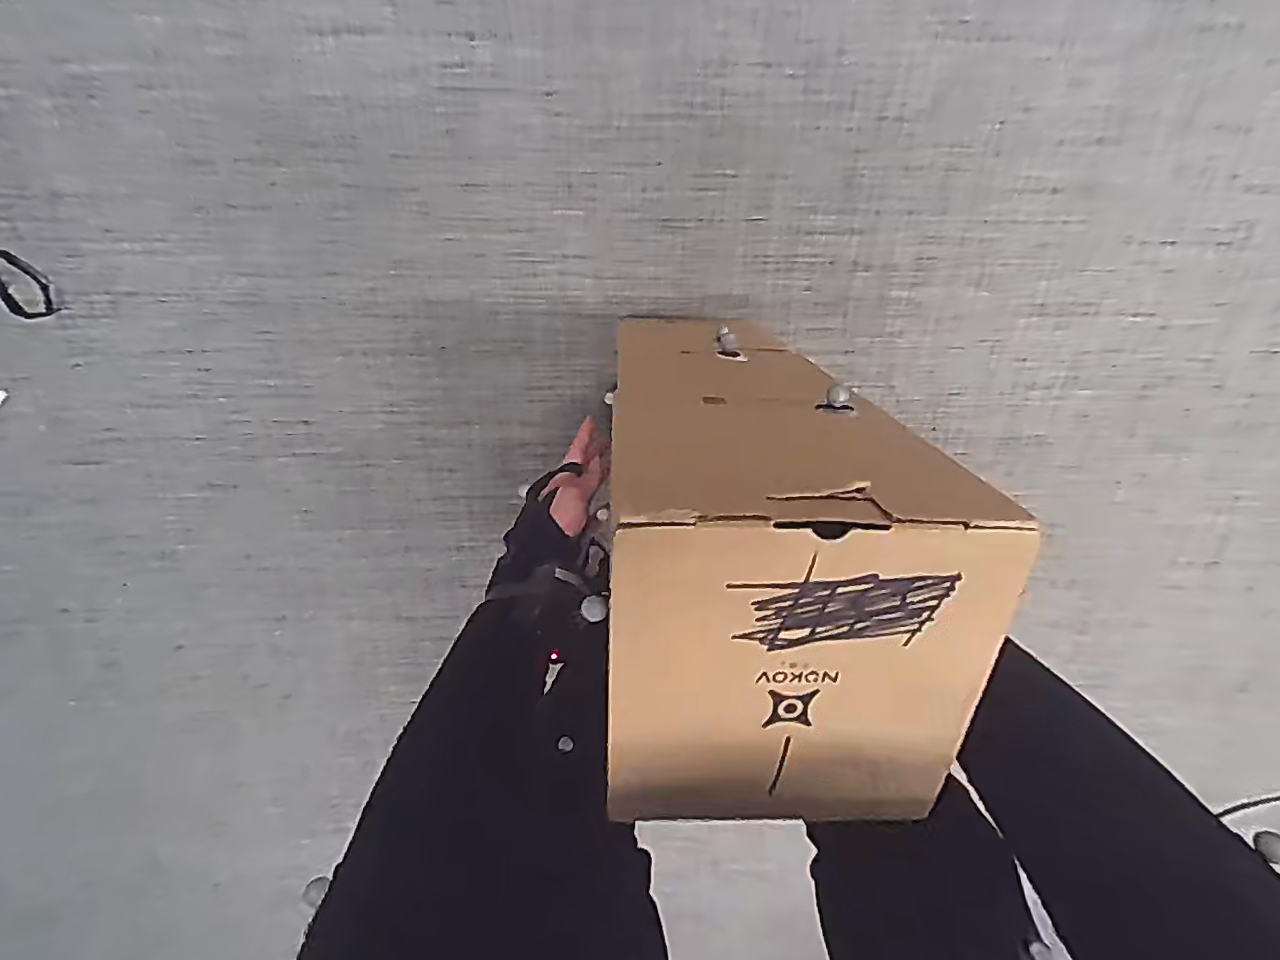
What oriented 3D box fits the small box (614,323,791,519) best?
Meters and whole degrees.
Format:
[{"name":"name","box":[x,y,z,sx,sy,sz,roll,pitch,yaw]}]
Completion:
[{"name":"small box","box":[0.057,-0.073,0.614,0.168,0.176,0.179,1,115,-2]}]
